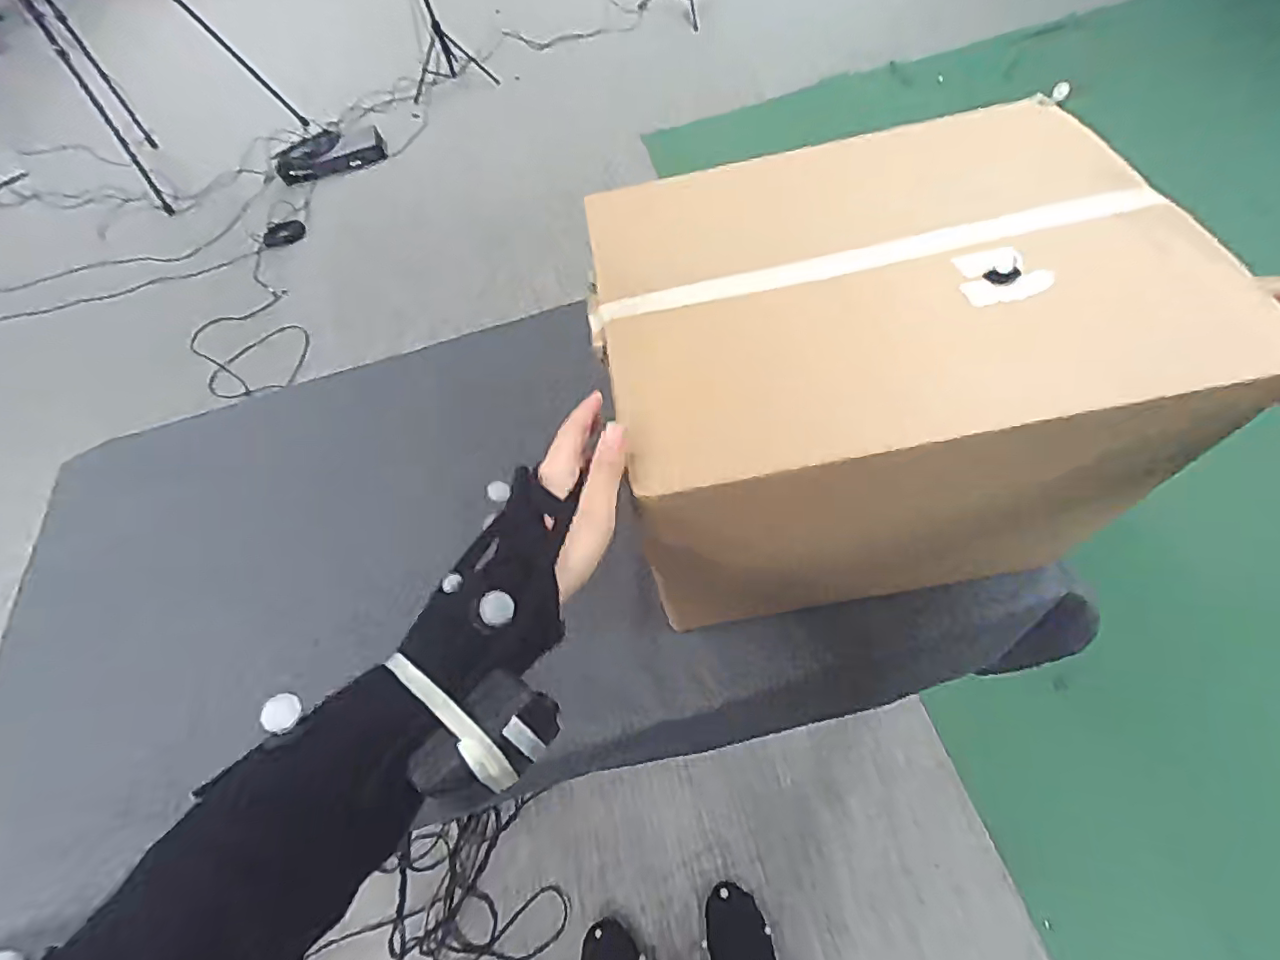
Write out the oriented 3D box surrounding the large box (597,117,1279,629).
[{"bbox_3d":[0.194,-0.078,0.526,0.408,0.320,0.320,-11,59,2],"label":"large box"}]
